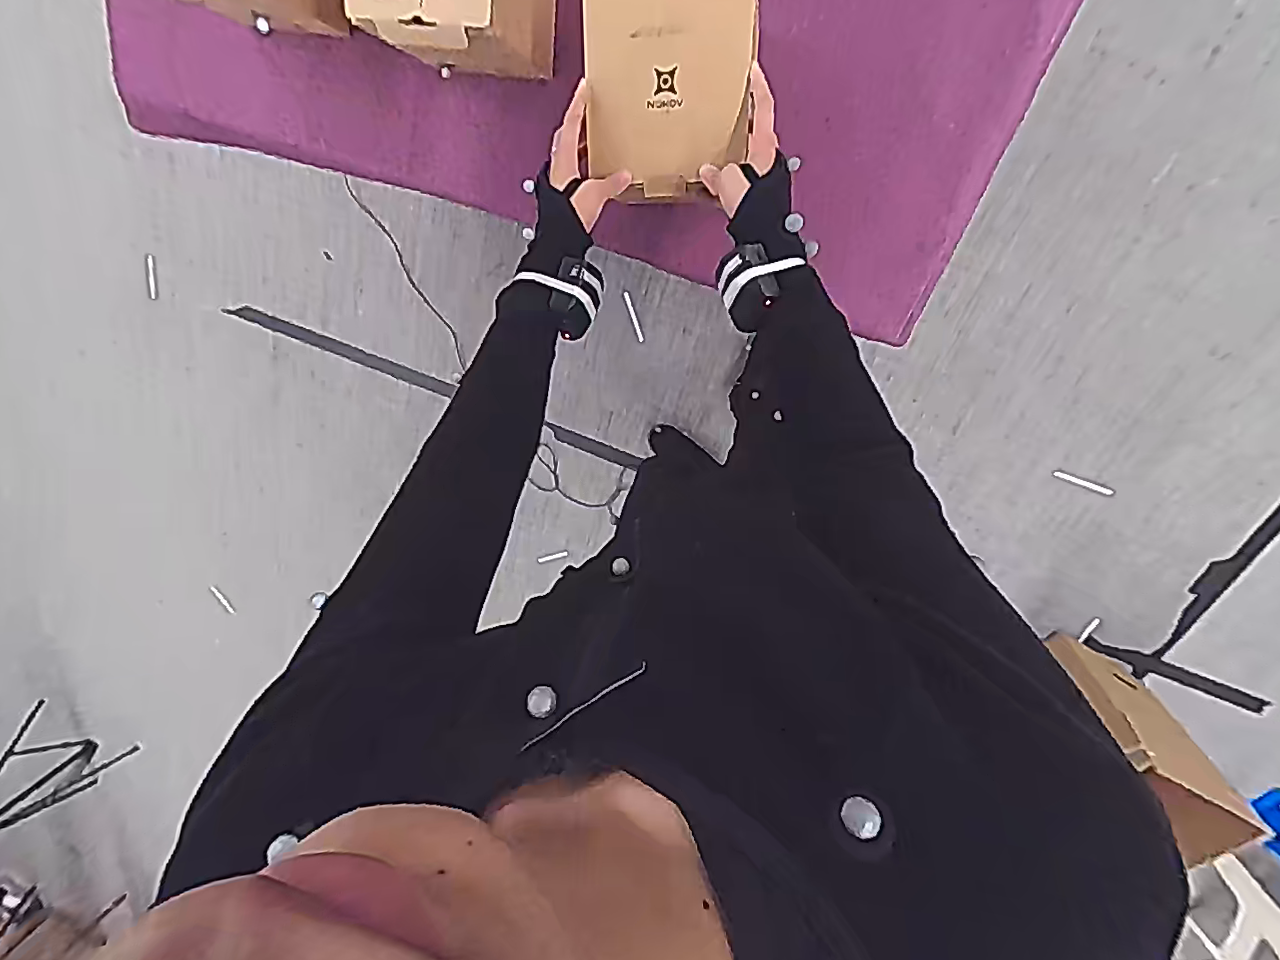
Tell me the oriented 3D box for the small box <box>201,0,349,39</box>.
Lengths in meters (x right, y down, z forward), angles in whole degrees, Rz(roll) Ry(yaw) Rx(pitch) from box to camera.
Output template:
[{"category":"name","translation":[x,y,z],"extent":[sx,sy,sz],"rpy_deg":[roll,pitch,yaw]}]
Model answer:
[{"category":"small box","translation":[-0.466,-0.653,0.623],"extent":[0.168,0.176,0.179],"rpy_deg":[13,115,8]}]

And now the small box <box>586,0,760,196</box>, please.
[{"category":"small box","translation":[0.043,-0.421,0.603],"extent":[0.168,0.176,0.179],"rpy_deg":[5,112,10]}]

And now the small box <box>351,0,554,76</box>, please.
[{"category":"small box","translation":[-0.196,-0.574,0.594],"extent":[0.168,0.176,0.179],"rpy_deg":[11,114,8]}]
